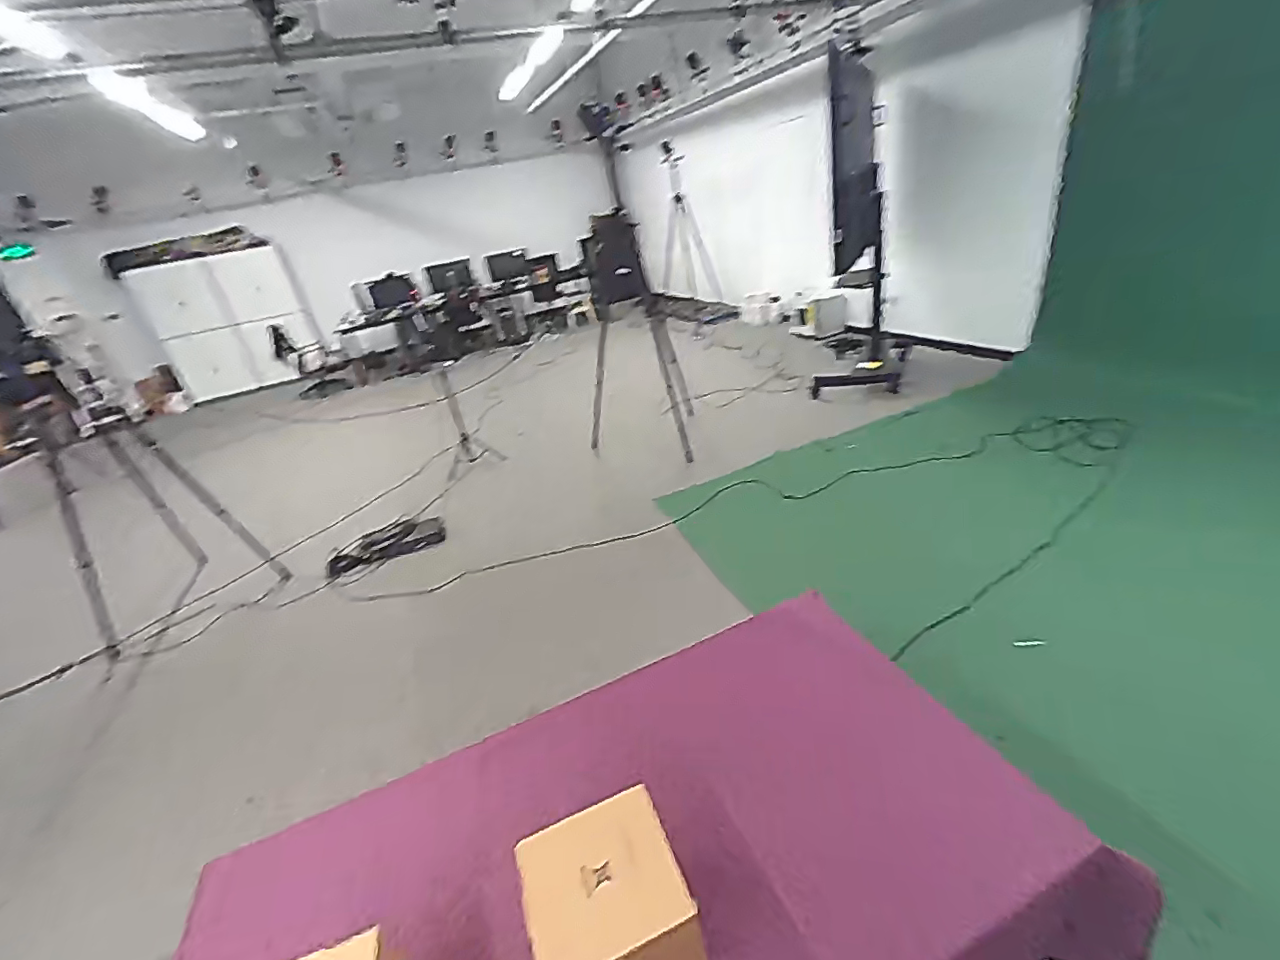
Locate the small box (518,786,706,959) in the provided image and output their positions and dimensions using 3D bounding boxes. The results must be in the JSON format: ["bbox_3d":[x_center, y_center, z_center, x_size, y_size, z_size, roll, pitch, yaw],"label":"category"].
[{"bbox_3d":[-0.032,0.532,0.664,0.179,0.176,0.168,-19,28,-14],"label":"small box"}]

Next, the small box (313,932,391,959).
[{"bbox_3d":[-0.332,0.646,0.568,0.168,0.176,0.179,-18,27,-12],"label":"small box"}]
